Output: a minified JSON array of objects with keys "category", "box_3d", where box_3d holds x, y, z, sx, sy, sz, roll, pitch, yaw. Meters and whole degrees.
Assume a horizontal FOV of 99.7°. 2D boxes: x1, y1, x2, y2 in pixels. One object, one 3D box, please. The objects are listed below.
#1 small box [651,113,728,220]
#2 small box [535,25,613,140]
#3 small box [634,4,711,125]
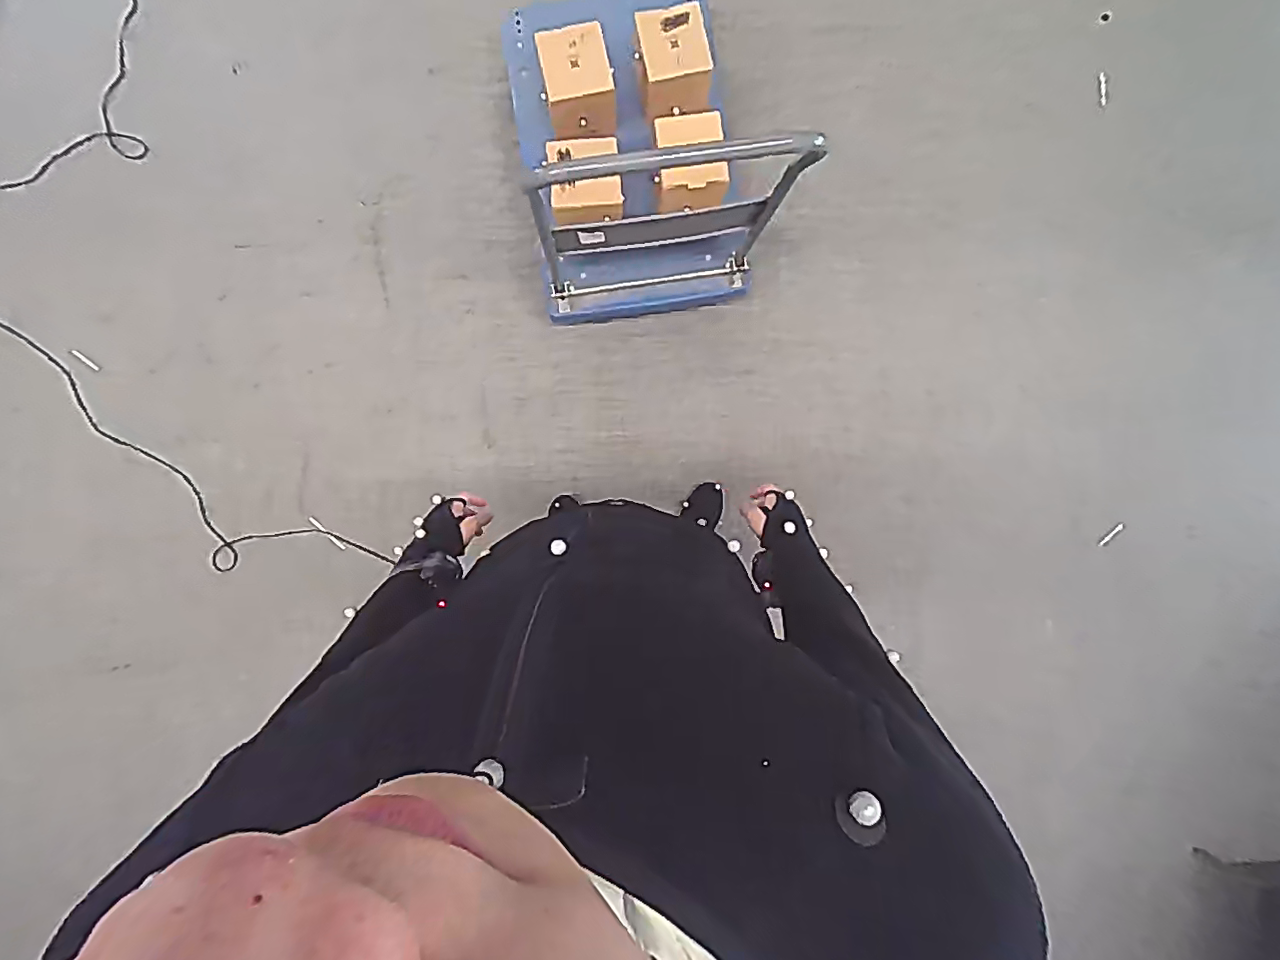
[{"category":"small box","box_3d":[0.123,-0.819,1.424,0.168,0.176,0.179,-9,90,-2]},{"category":"small box","box_3d":[-0.166,-1.027,1.418,0.168,0.176,0.179,-13,89,-3]},{"category":"small box","box_3d":[0.078,-1.086,1.425,0.168,0.176,0.179,-13,90,-1]}]
